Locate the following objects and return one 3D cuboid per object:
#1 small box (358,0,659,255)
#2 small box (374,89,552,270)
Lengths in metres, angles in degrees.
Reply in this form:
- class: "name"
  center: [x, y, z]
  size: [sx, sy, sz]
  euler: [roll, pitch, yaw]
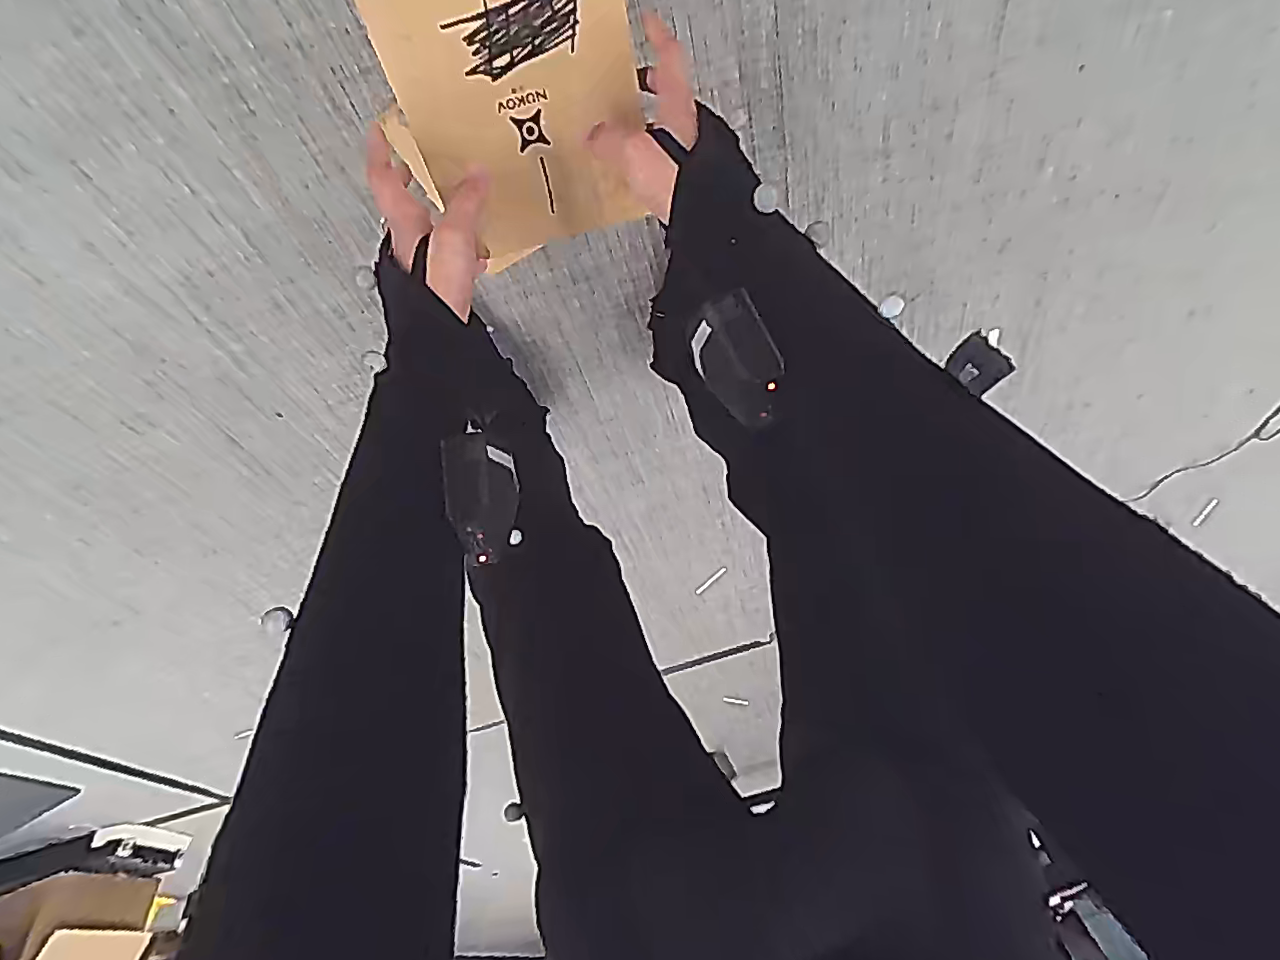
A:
- class: "small box"
  center: [-0.092, -0.315, 0.432]
  size: [0.168, 0.176, 0.179]
  euler: [-15, 136, 2]
- class: "small box"
  center: [-0.152, -0.374, 0.592]
  size: [0.168, 0.176, 0.179]
  euler: [-25, 135, 11]
